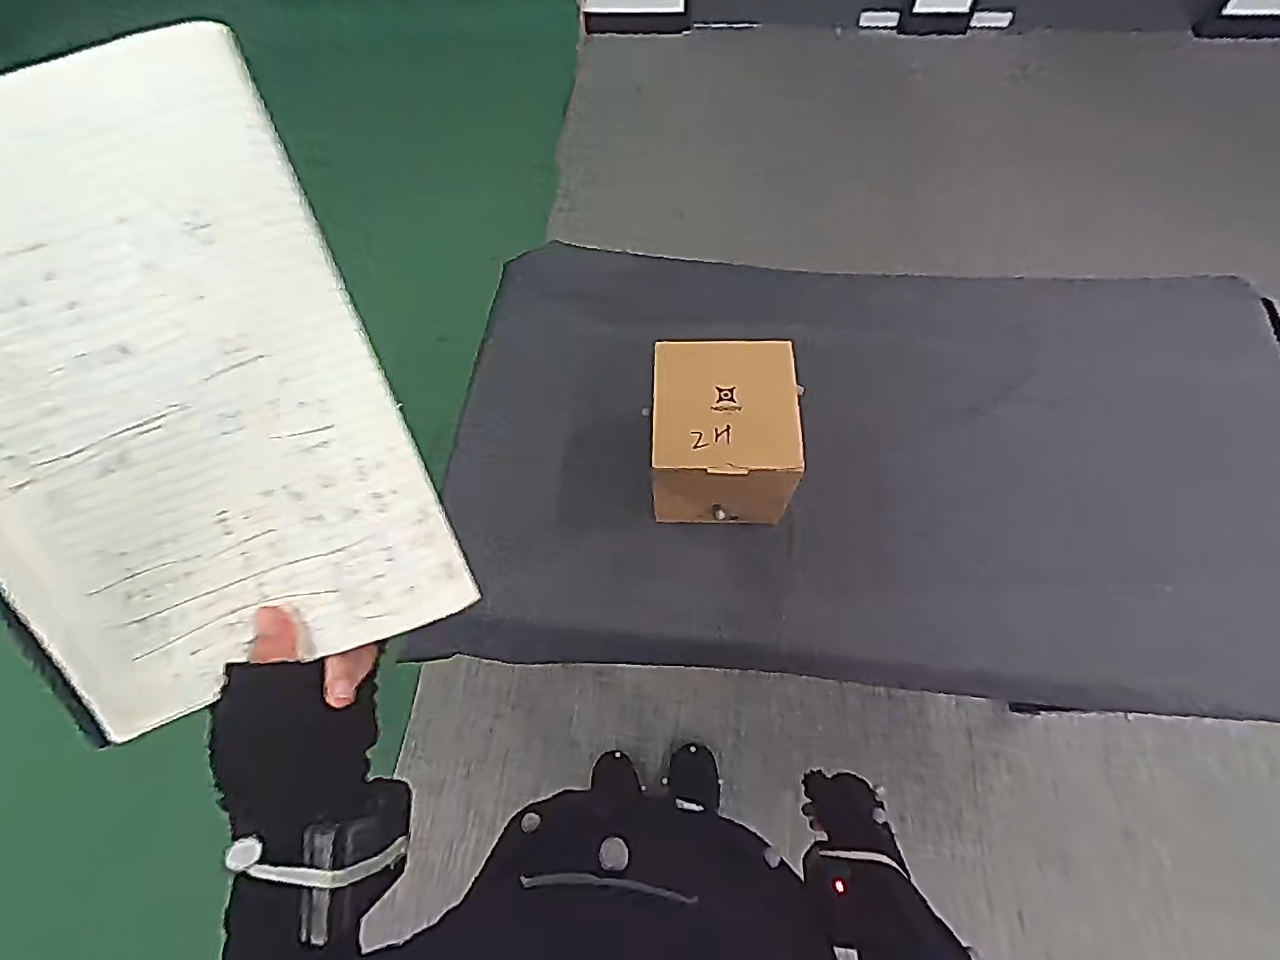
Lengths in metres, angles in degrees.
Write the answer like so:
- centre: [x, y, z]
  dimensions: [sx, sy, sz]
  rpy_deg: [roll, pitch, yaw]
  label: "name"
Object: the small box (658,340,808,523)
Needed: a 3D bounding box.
- centre: [0.107, -0.057, 0.692]
  dimensions: [0.168, 0.176, 0.179]
  rpy_deg: [0, 65, 4]
  label: "small box"
